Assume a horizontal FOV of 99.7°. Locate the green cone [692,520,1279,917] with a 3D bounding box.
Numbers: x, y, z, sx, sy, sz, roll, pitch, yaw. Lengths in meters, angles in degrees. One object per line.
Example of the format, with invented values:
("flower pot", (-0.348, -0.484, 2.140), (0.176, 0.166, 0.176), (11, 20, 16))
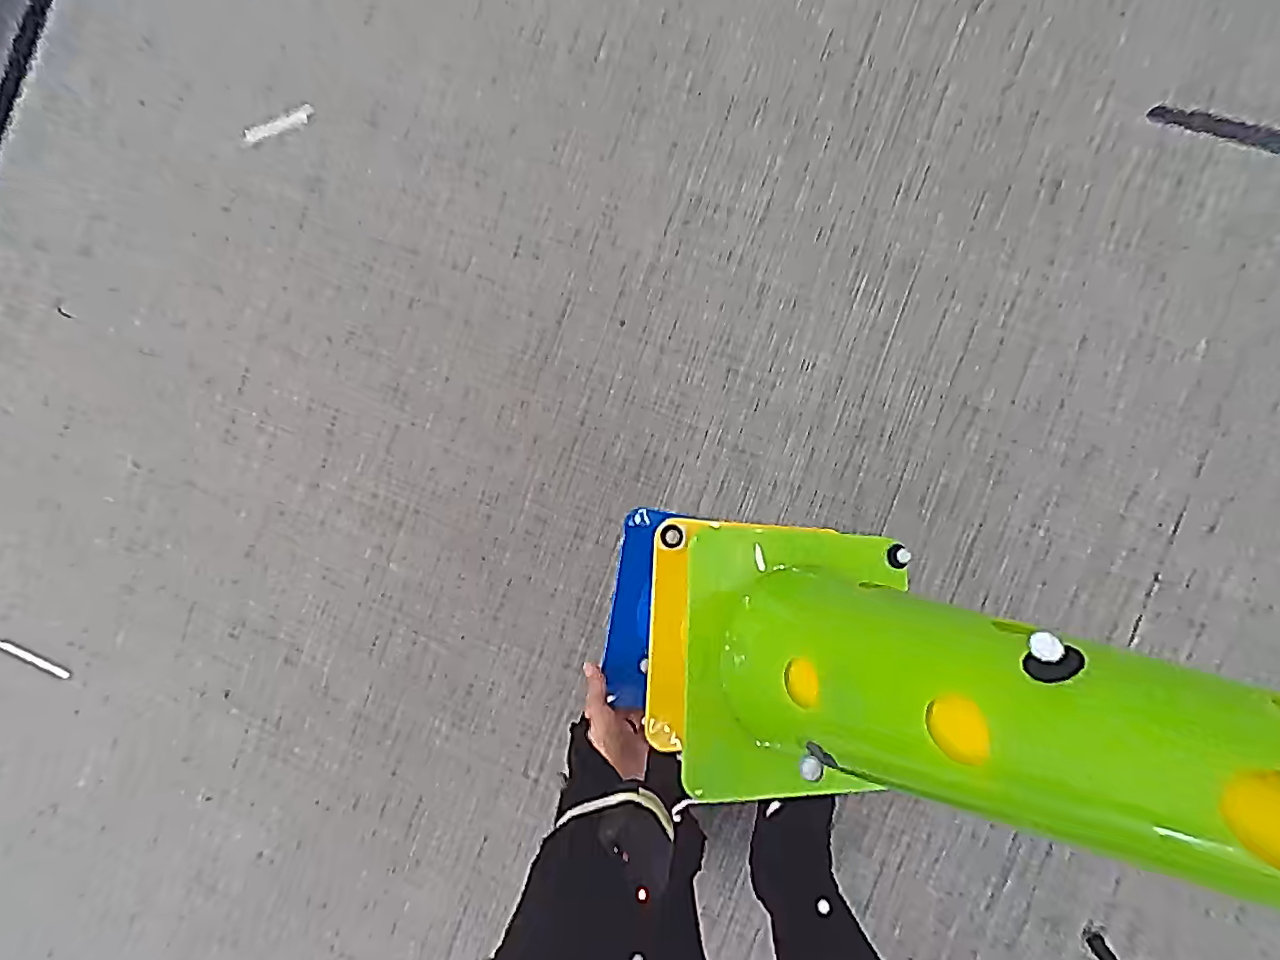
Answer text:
("green cone", (0.181, 0.112, 0.258), (0.200, 0.368, 0.202), (5, 81, -15))
